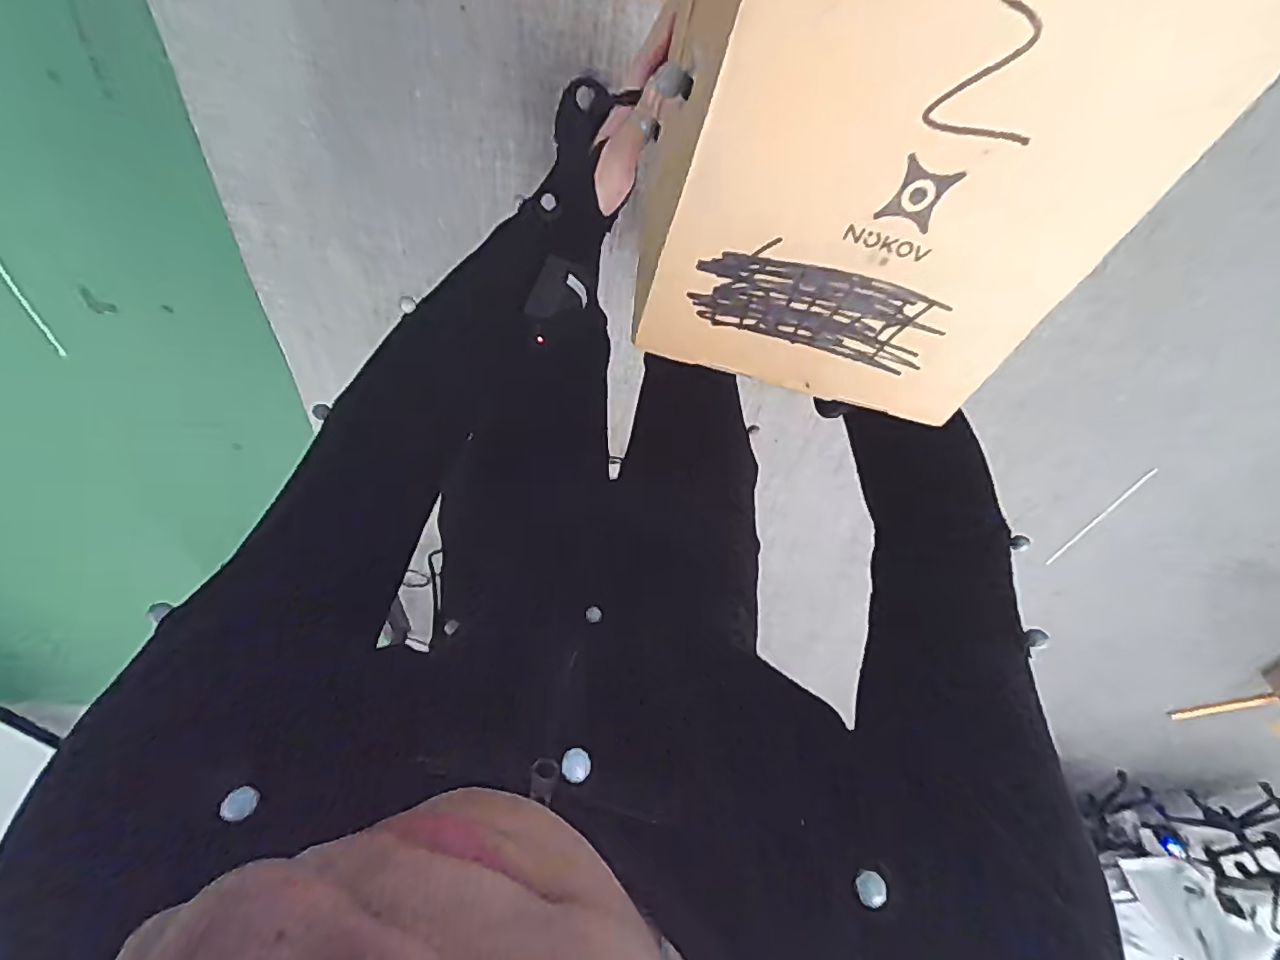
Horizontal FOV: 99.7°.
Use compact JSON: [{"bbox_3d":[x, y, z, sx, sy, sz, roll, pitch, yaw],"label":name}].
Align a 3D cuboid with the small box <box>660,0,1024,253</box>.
[{"bbox_3d":[0.110,-0.290,0.361,0.168,0.176,0.179,9,140,-8],"label":"small box"}]
